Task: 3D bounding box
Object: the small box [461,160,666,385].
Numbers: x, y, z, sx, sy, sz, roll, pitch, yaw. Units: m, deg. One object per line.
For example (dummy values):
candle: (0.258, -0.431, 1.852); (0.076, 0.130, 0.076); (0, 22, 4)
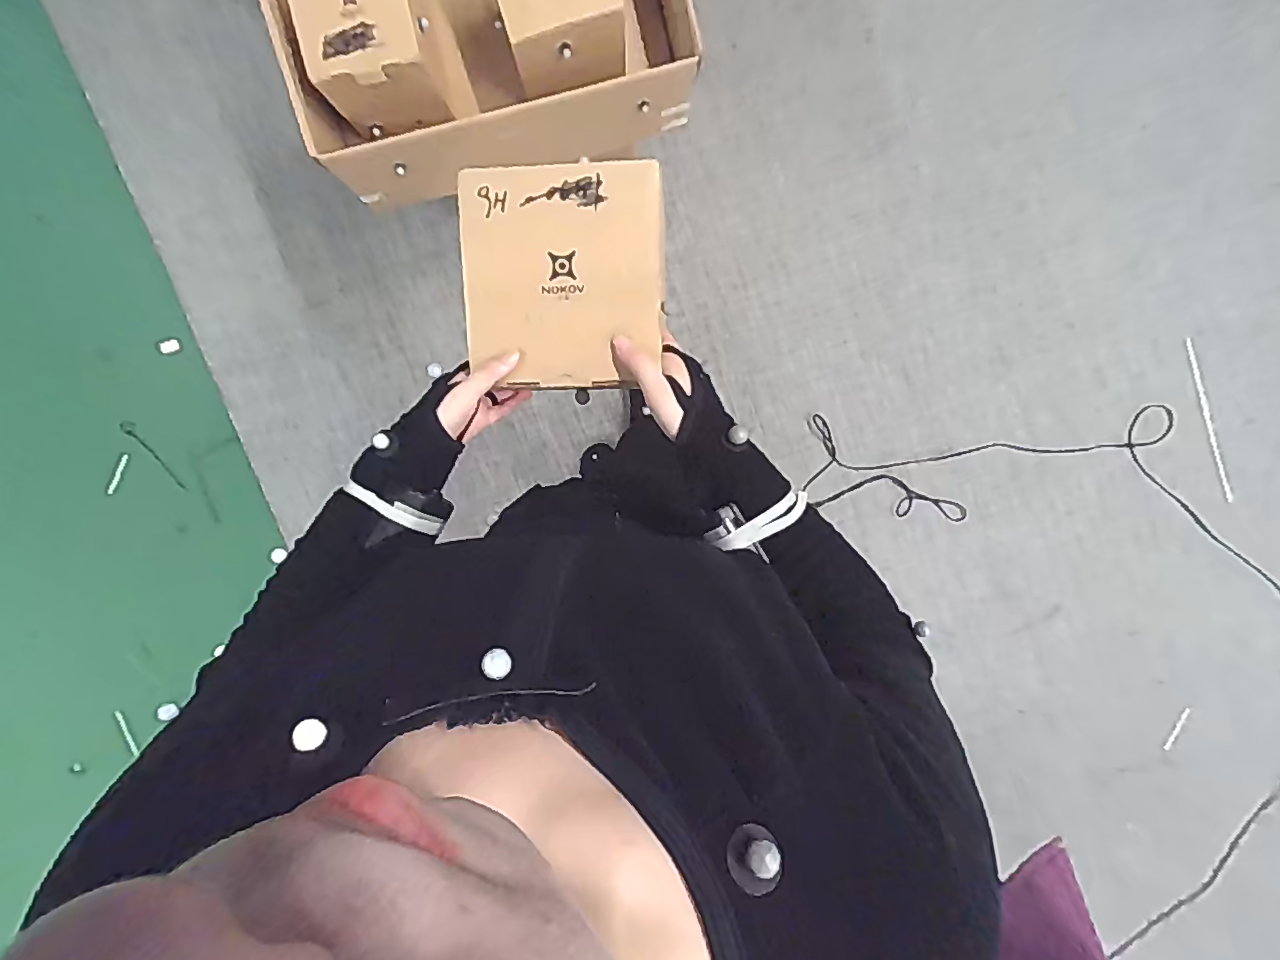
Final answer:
small box: (-0.059, -0.182, 0.526); (0.168, 0.176, 0.179); (0, 99, 3)
